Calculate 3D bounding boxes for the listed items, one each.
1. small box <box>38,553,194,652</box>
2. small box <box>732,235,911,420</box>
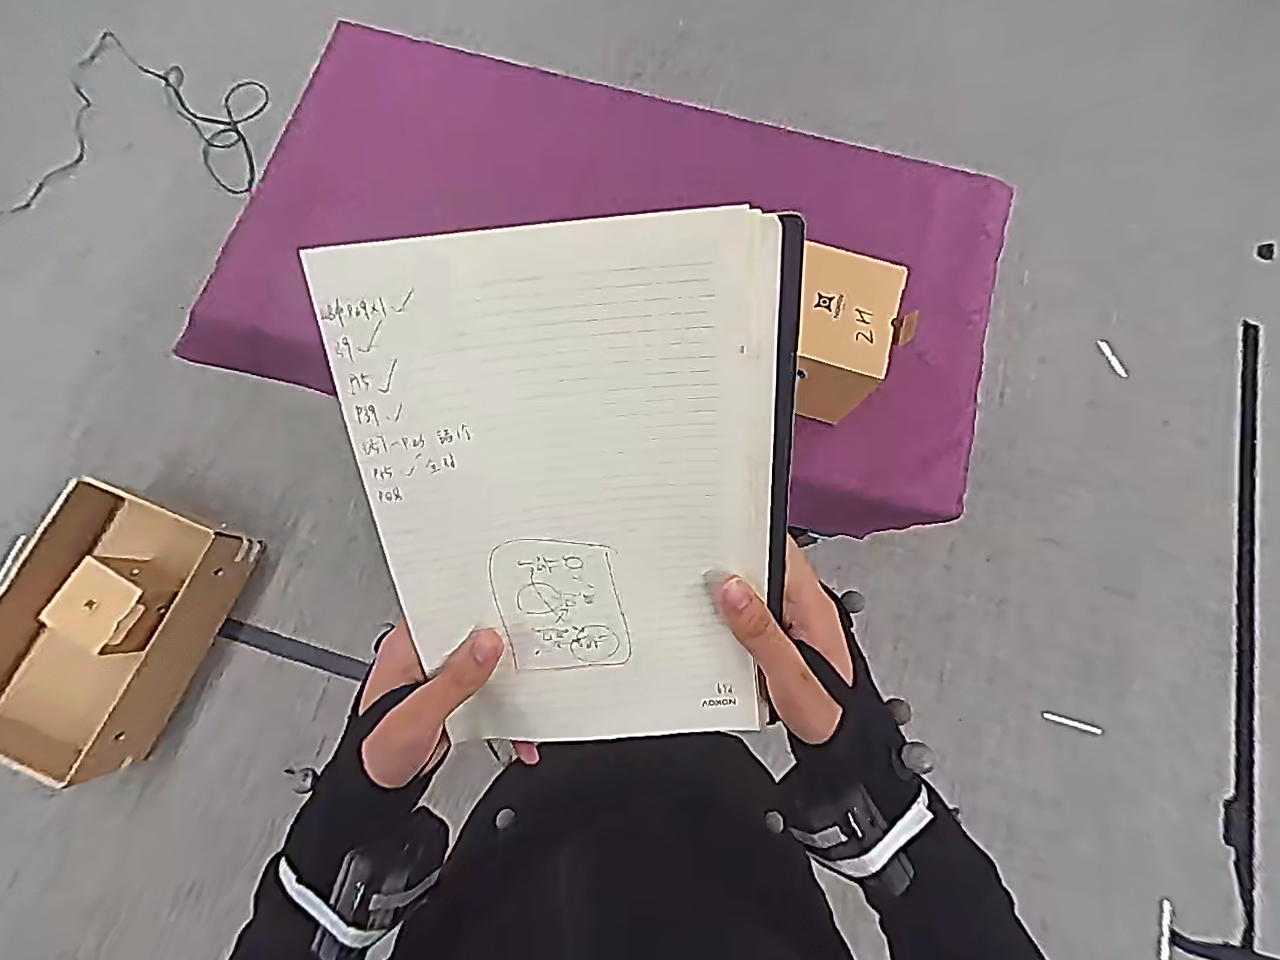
[{"bbox_3d":[-1.257,0.294,1.314,0.179,0.176,0.168,30,78,5],"label":"small box"},{"bbox_3d":[0.240,-0.200,0.756,0.179,0.176,0.168,18,77,3],"label":"small box"}]
